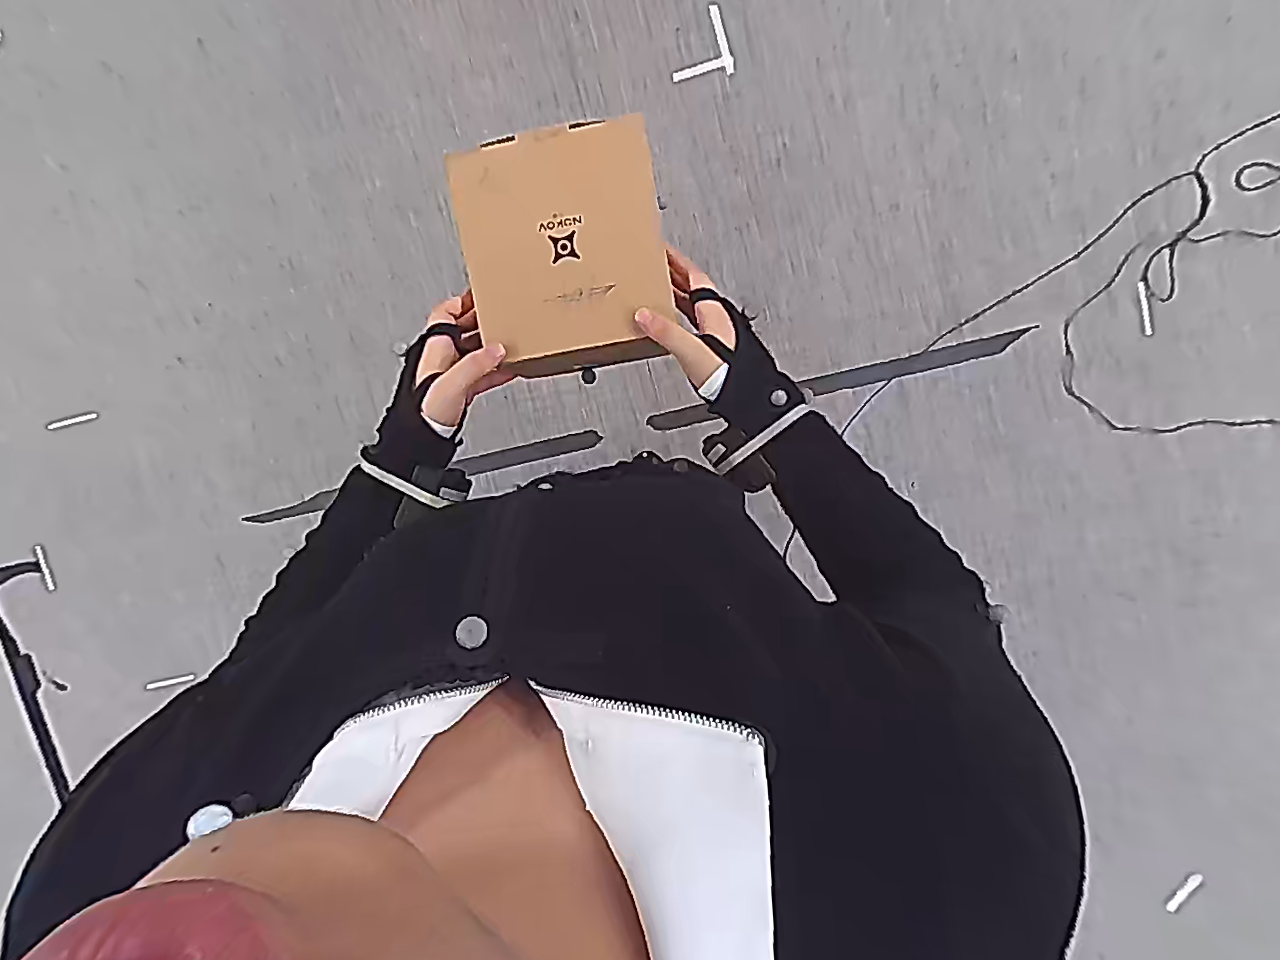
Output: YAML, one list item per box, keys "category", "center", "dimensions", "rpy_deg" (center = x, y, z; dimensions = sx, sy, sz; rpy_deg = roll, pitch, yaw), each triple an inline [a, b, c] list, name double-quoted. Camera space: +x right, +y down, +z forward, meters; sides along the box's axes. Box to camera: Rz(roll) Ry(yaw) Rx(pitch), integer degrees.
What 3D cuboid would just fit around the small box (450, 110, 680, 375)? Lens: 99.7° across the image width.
- category: "small box"
  center: [-0.059, -0.206, 0.520]
  dimensions: [0.168, 0.176, 0.179]
  rpy_deg: [-10, 96, 3]
